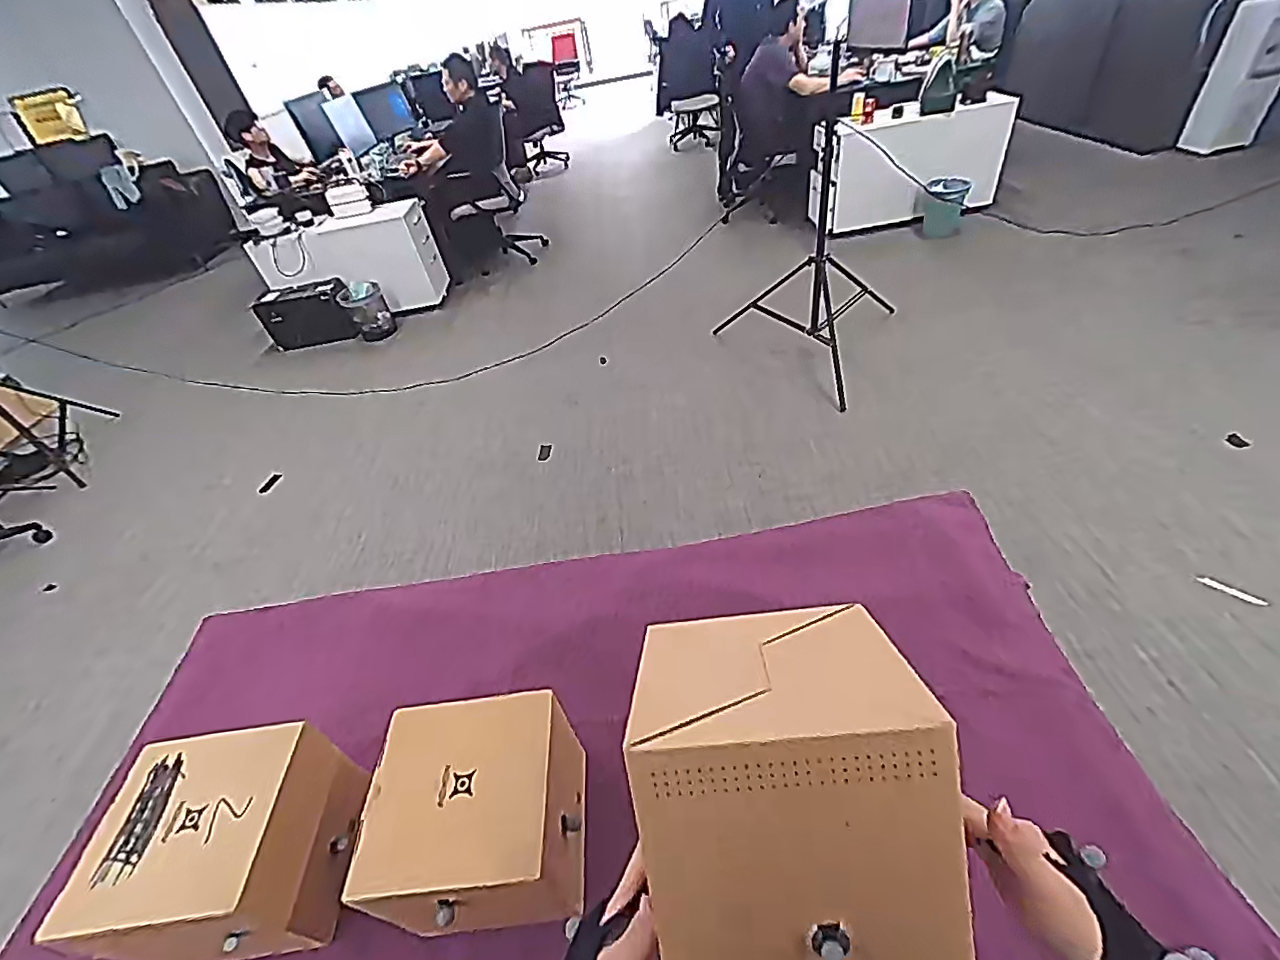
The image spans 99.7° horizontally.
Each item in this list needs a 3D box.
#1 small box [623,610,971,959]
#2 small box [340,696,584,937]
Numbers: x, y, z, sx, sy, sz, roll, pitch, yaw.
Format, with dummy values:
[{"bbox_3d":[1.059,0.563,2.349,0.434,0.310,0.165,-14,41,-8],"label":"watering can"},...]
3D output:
[{"bbox_3d":[0.094,0.202,0.372,0.179,0.176,0.168,-8,8,6],"label":"small box"},{"bbox_3d":[-0.158,0.347,0.558,0.179,0.176,0.168,-9,41,4],"label":"small box"}]
